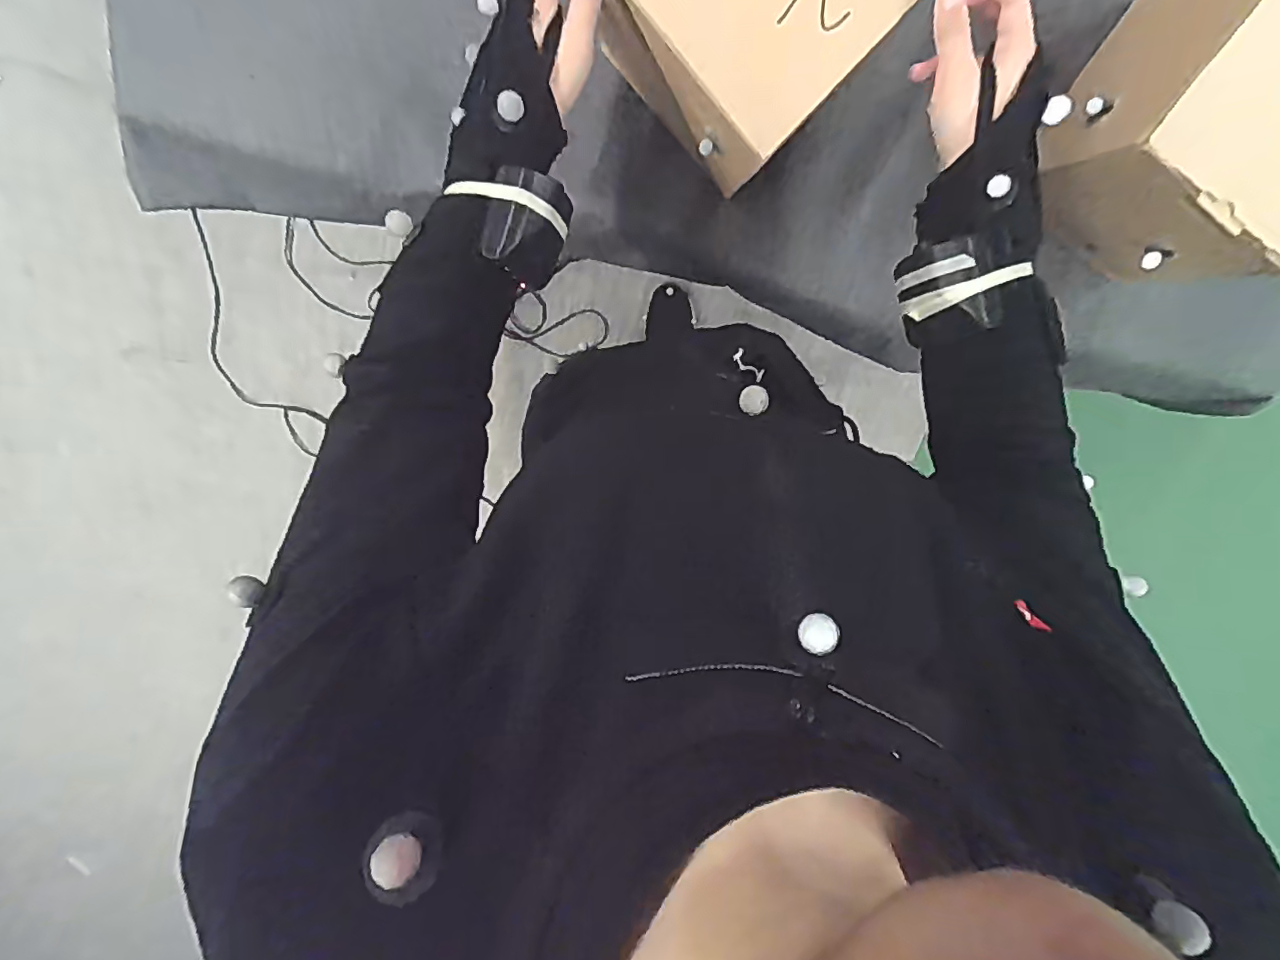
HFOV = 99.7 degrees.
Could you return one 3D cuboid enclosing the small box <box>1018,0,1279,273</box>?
[{"bbox_3d":[0.450,-0.283,0.427,0.168,0.176,0.179,29,105,-10],"label":"small box"}]
